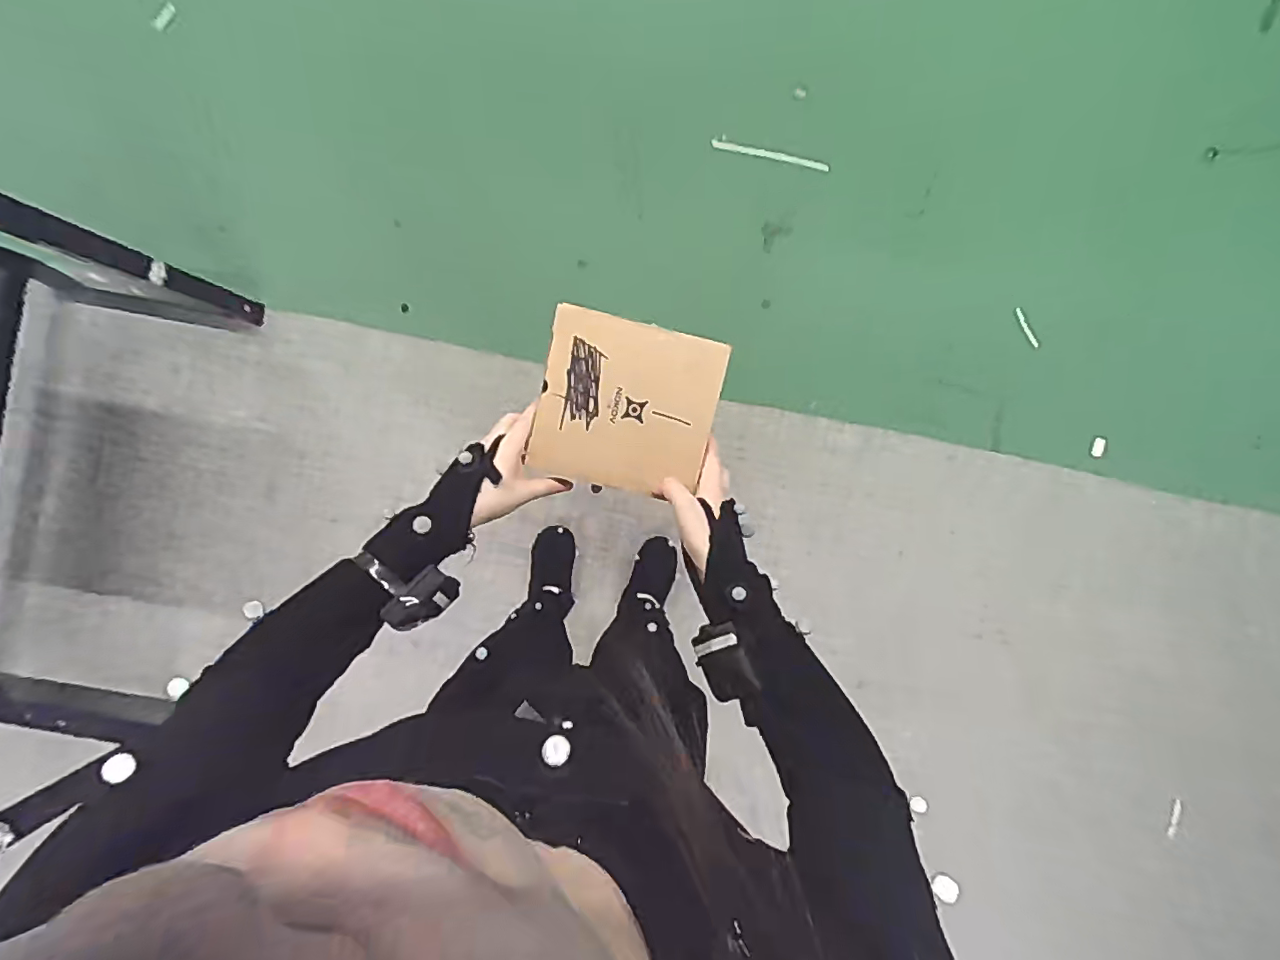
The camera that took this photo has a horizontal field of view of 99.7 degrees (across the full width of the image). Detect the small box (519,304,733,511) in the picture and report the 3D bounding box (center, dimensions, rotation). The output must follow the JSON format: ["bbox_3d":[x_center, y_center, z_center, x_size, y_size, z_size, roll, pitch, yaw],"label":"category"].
[{"bbox_3d":[-0.015,-0.074,0.592,0.179,0.176,0.168,13,95,-2],"label":"small box"}]
